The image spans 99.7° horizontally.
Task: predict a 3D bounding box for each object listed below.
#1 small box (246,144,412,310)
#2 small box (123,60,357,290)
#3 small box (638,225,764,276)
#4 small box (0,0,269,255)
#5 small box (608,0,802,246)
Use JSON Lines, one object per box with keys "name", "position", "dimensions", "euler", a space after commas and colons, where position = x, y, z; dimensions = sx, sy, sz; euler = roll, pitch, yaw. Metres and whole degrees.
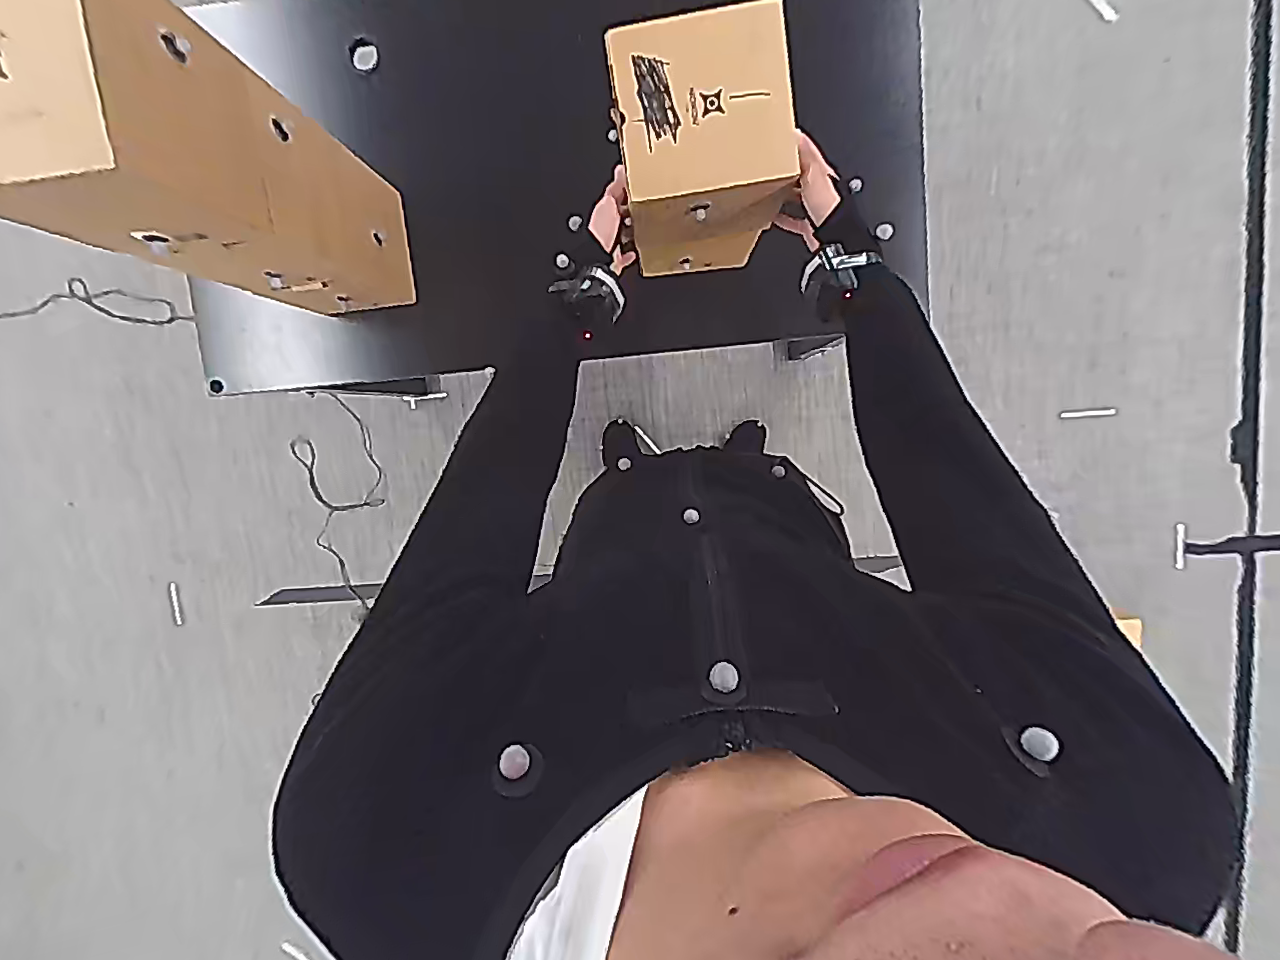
{"name": "small box", "position": [-0.458, -0.355, 0.797], "dimensions": [0.168, 0.176, 0.179], "euler": [-7, 97, 3]}
{"name": "small box", "position": [-0.465, -0.338, 0.634], "dimensions": [0.168, 0.176, 0.179], "euler": [-6, 97, 4]}
{"name": "small box", "position": [0.075, -0.408, 0.770], "dimensions": [0.168, 0.176, 0.179], "euler": [-5, 97, 3]}
{"name": "small box", "position": [-0.471, -0.318, 0.472], "dimensions": [0.168, 0.176, 0.179], "euler": [-6, 97, 4]}
{"name": "small box", "position": [0.068, -0.379, 0.607], "dimensions": [0.179, 0.176, 0.168], "euler": [-8, 97, 3]}
